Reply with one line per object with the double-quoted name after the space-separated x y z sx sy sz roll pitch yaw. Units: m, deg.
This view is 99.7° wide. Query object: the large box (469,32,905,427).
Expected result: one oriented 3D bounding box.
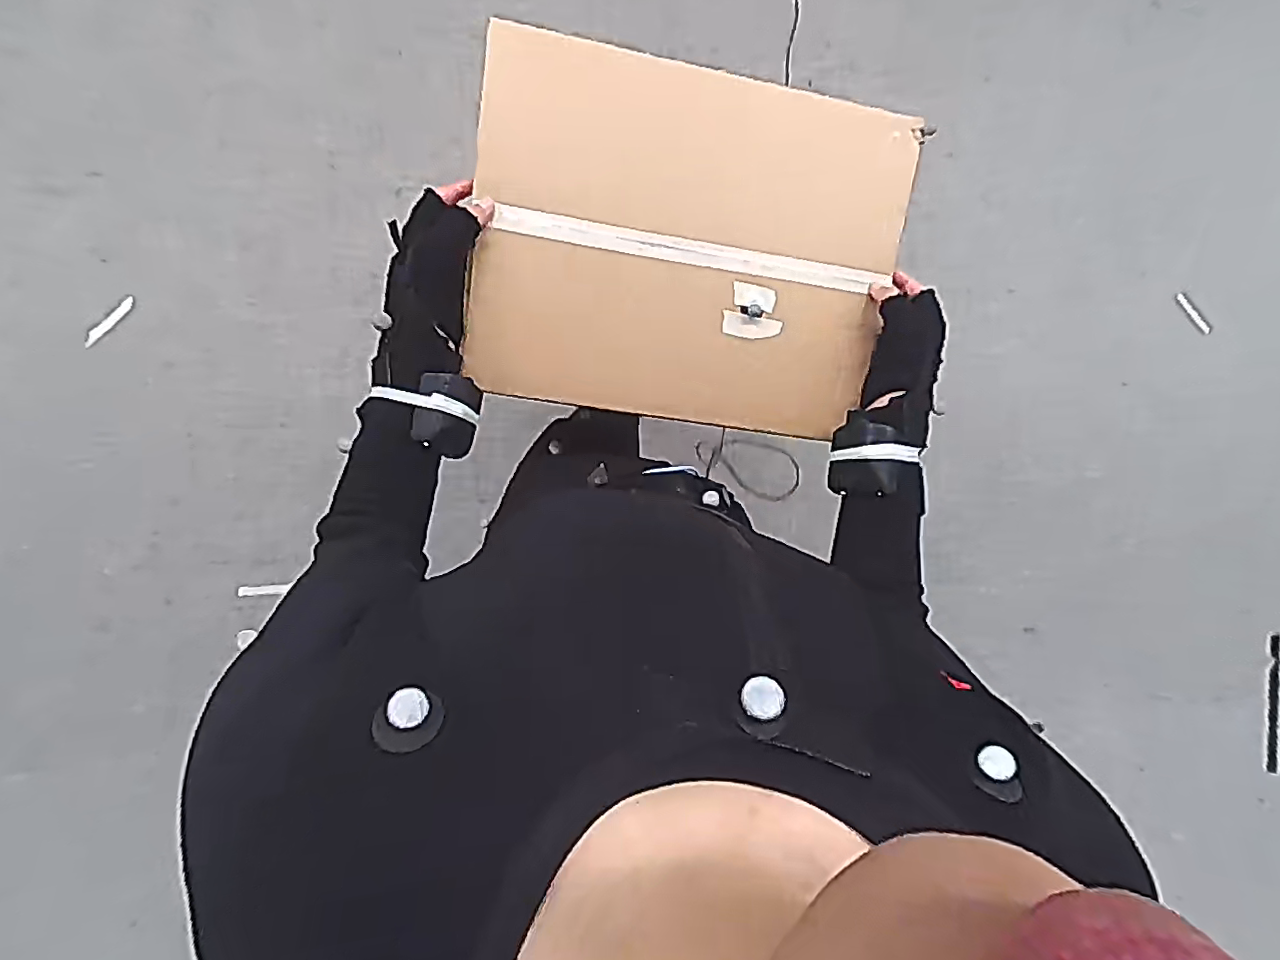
0.029 -0.253 0.673 0.408 0.320 0.320 8 100 -8 "large box"
